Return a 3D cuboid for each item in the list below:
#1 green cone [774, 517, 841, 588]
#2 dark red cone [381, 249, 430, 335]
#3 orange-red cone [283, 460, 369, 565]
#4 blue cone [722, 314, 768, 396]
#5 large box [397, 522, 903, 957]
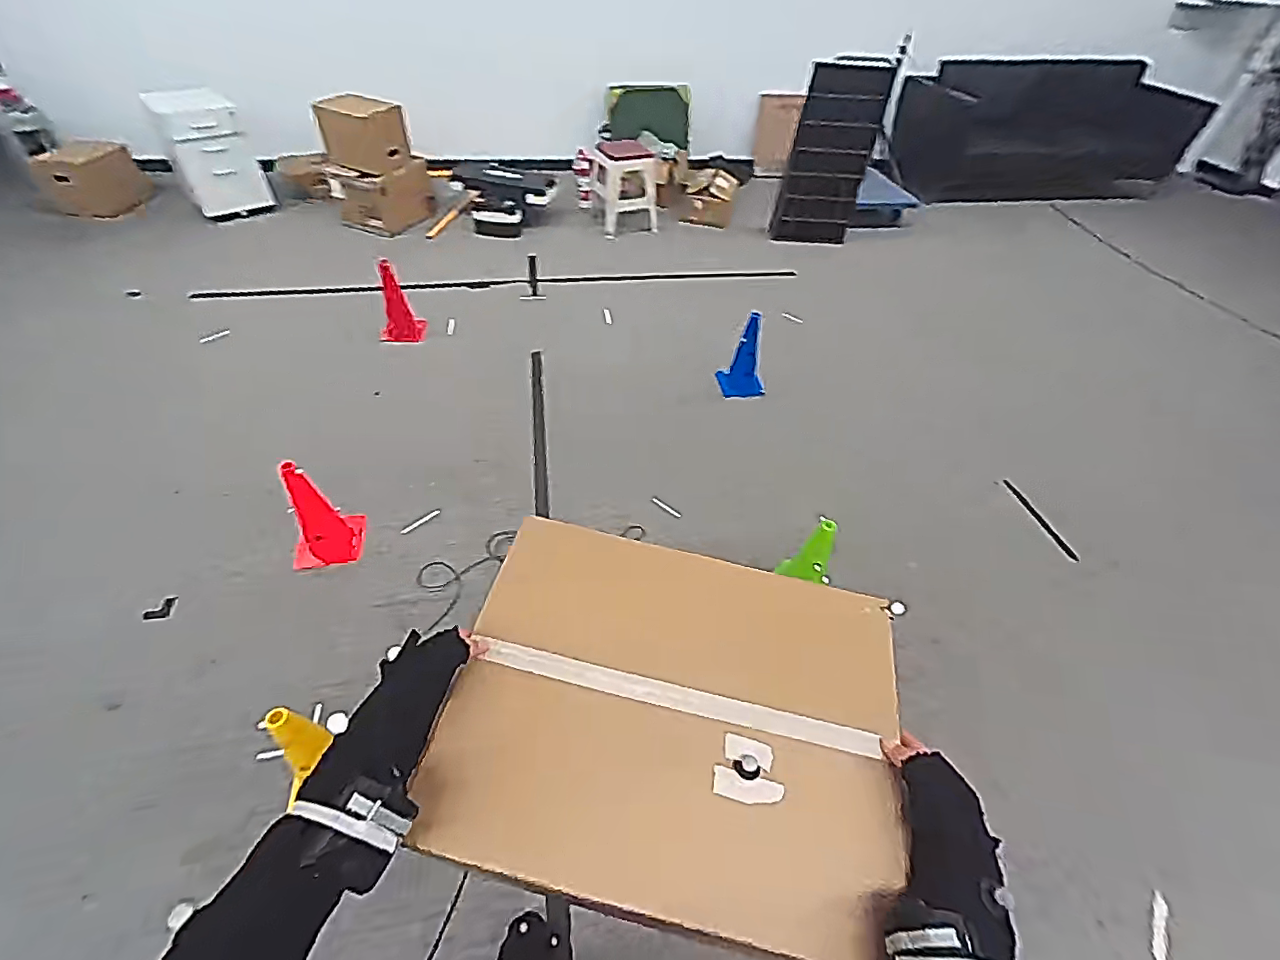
[{"bbox_3d":[0.523,0.245,1.614,0.200,0.368,0.202,36,53,26],"label":"green cone"},{"bbox_3d":[-1.138,-0.882,2.540,0.201,0.394,0.202,0,47,-5],"label":"dark red cone"},{"bbox_3d":[-1.004,0.076,1.669,0.198,0.360,0.199,-7,49,-9],"label":"orange-red cone"},{"bbox_3d":[0.496,-0.563,2.407,0.192,0.380,0.193,-1,47,-7],"label":"blue cone"},{"bbox_3d":[0.015,0.293,0.617,0.408,0.320,0.320,13,51,3],"label":"large box"}]
